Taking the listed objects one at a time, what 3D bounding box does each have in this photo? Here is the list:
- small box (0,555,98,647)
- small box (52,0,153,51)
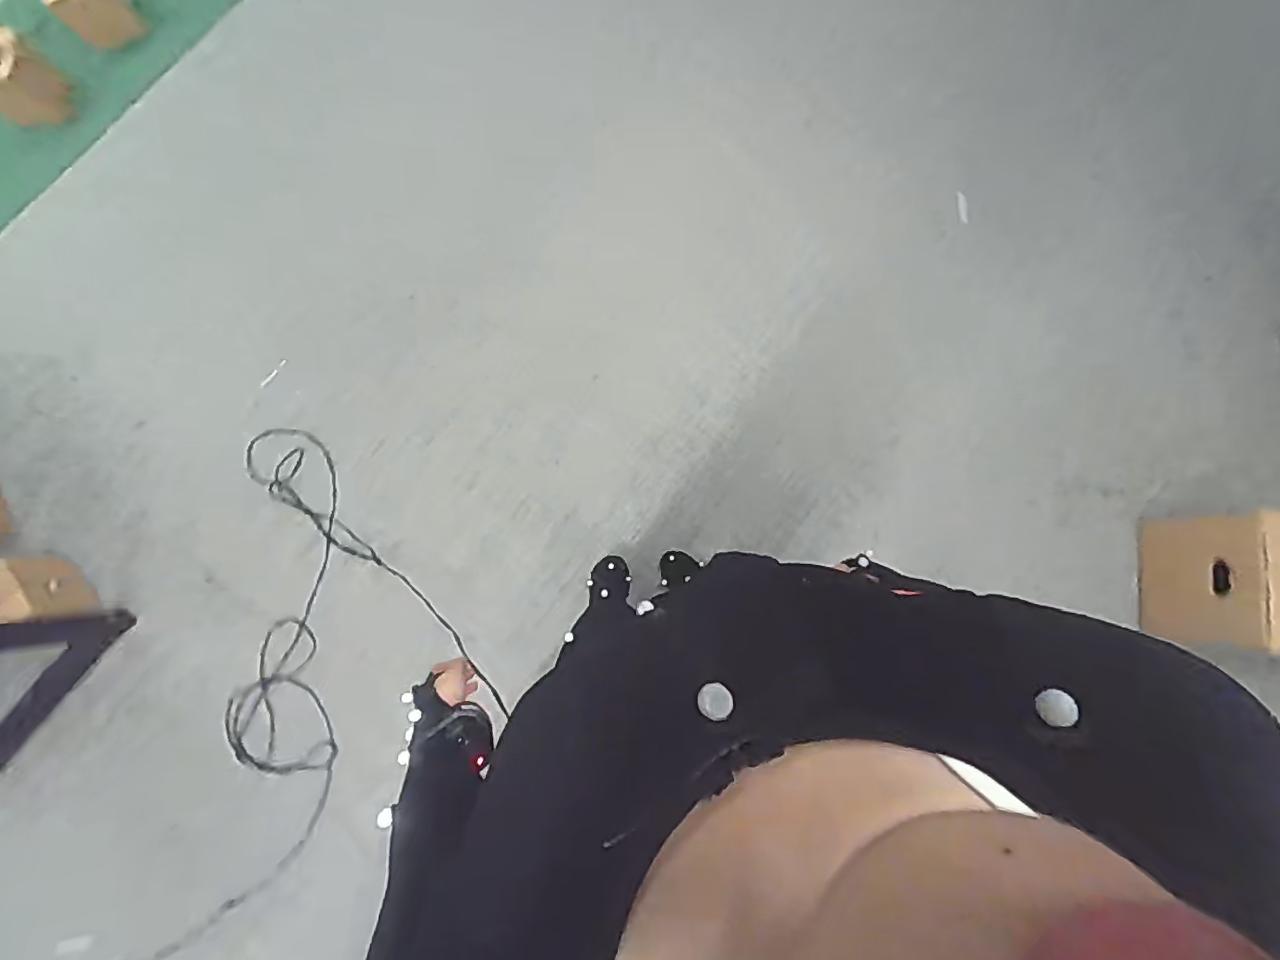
[{"bbox_3d":[-1.601,0.311,1.416,0.168,0.176,0.179,-39,83,-6],"label":"small box"},{"bbox_3d":[-1.716,-1.519,1.708,0.179,0.176,0.168,-32,82,-5],"label":"small box"}]
